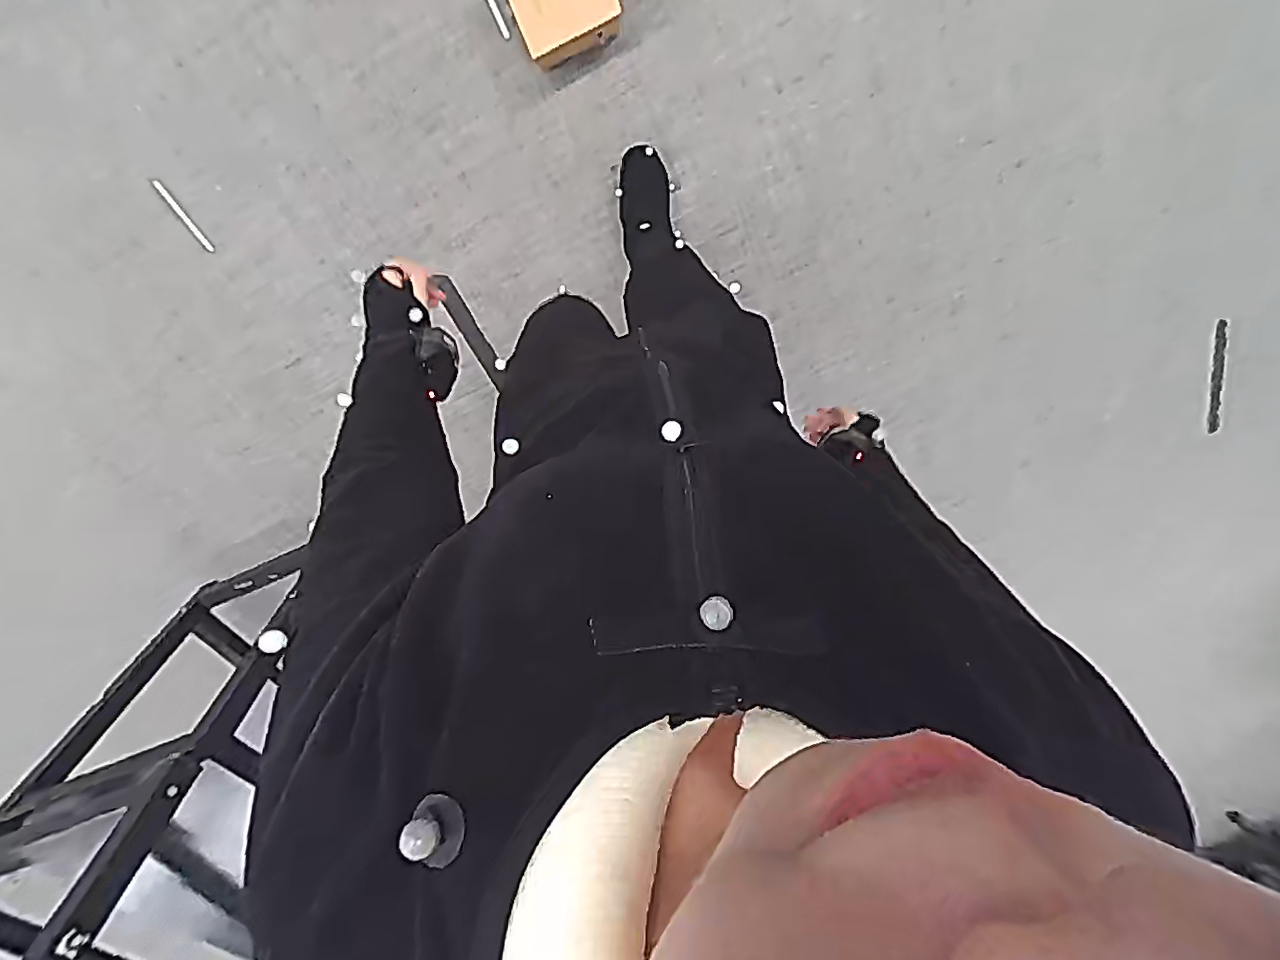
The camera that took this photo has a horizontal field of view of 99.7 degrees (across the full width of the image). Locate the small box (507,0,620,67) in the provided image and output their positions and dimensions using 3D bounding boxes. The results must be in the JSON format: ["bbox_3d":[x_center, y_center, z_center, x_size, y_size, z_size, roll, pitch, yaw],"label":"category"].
[{"bbox_3d":[-0.148,-0.874,0.962,0.179,0.176,0.168,-21,120,8],"label":"small box"}]
